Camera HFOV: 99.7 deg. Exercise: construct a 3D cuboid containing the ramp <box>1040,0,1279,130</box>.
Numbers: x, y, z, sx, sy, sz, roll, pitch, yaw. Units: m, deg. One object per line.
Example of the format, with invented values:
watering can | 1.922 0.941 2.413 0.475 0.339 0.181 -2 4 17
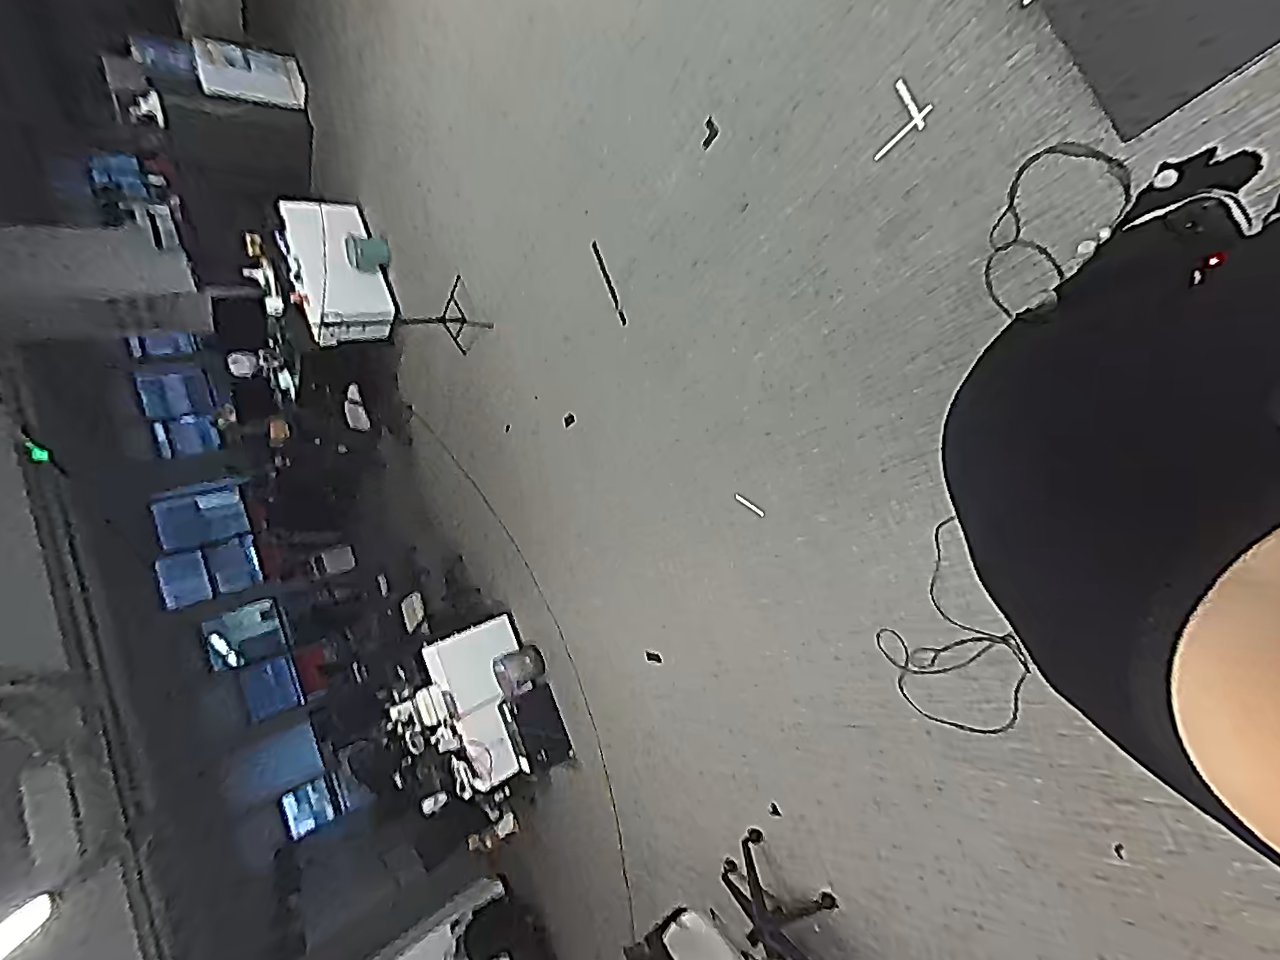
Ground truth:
ramp | 0.818 -1.179 0.868 0.509 0.206 0.991 -34 77 50
